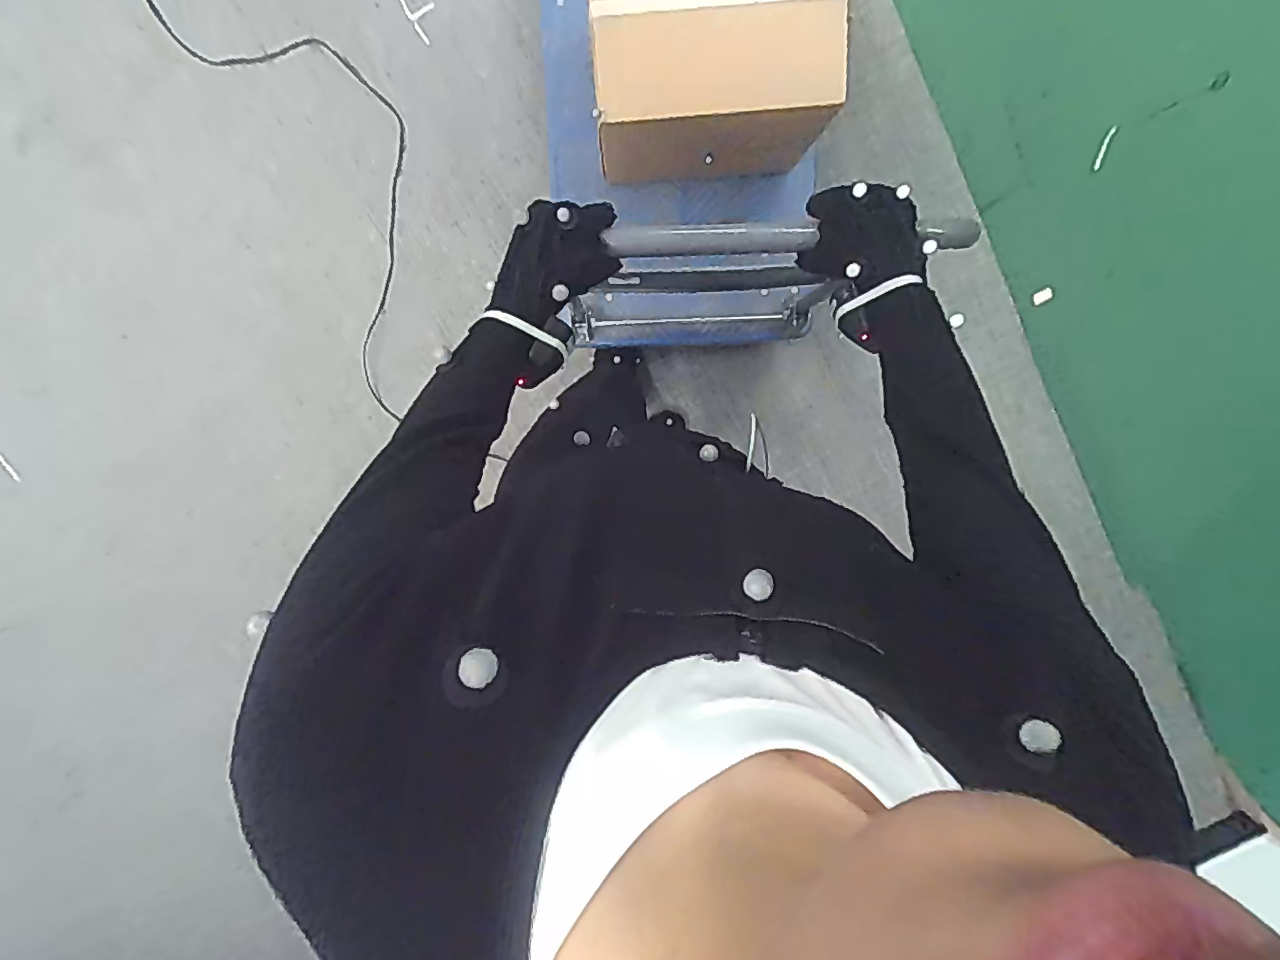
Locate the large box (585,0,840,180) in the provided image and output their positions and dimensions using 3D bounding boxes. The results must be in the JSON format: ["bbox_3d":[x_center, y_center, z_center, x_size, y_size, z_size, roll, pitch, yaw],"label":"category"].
[{"bbox_3d":[0.113,-0.781,0.995,0.408,0.320,0.320,-5,101,0],"label":"large box"}]
